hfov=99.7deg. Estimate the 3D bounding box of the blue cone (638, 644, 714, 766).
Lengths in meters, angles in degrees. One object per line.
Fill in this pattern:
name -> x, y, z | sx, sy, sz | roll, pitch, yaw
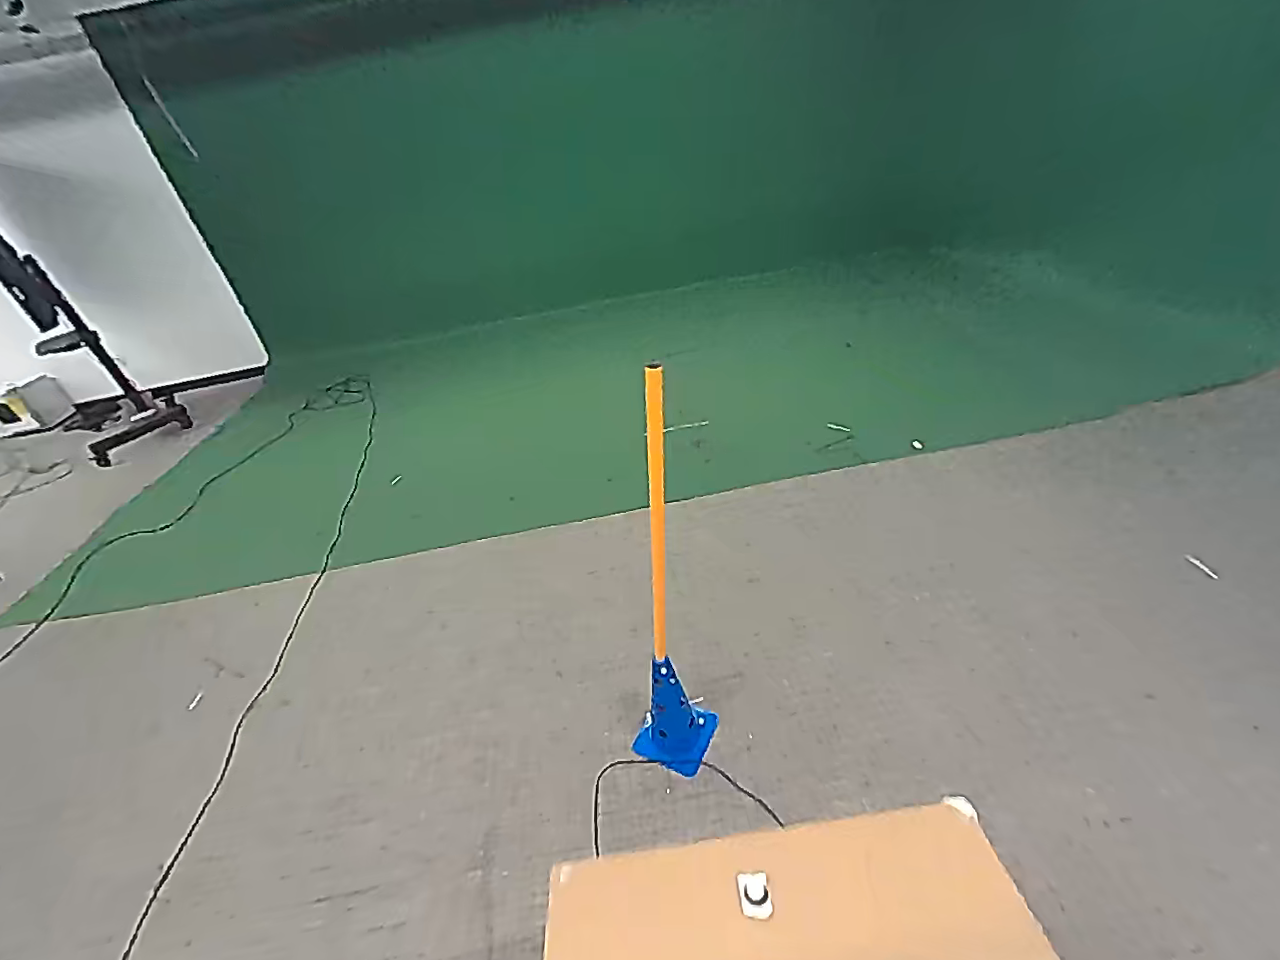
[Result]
blue cone -> 0.080, 0.578, 1.464 | 0.192, 0.380, 0.193 | 9, 38, 26
